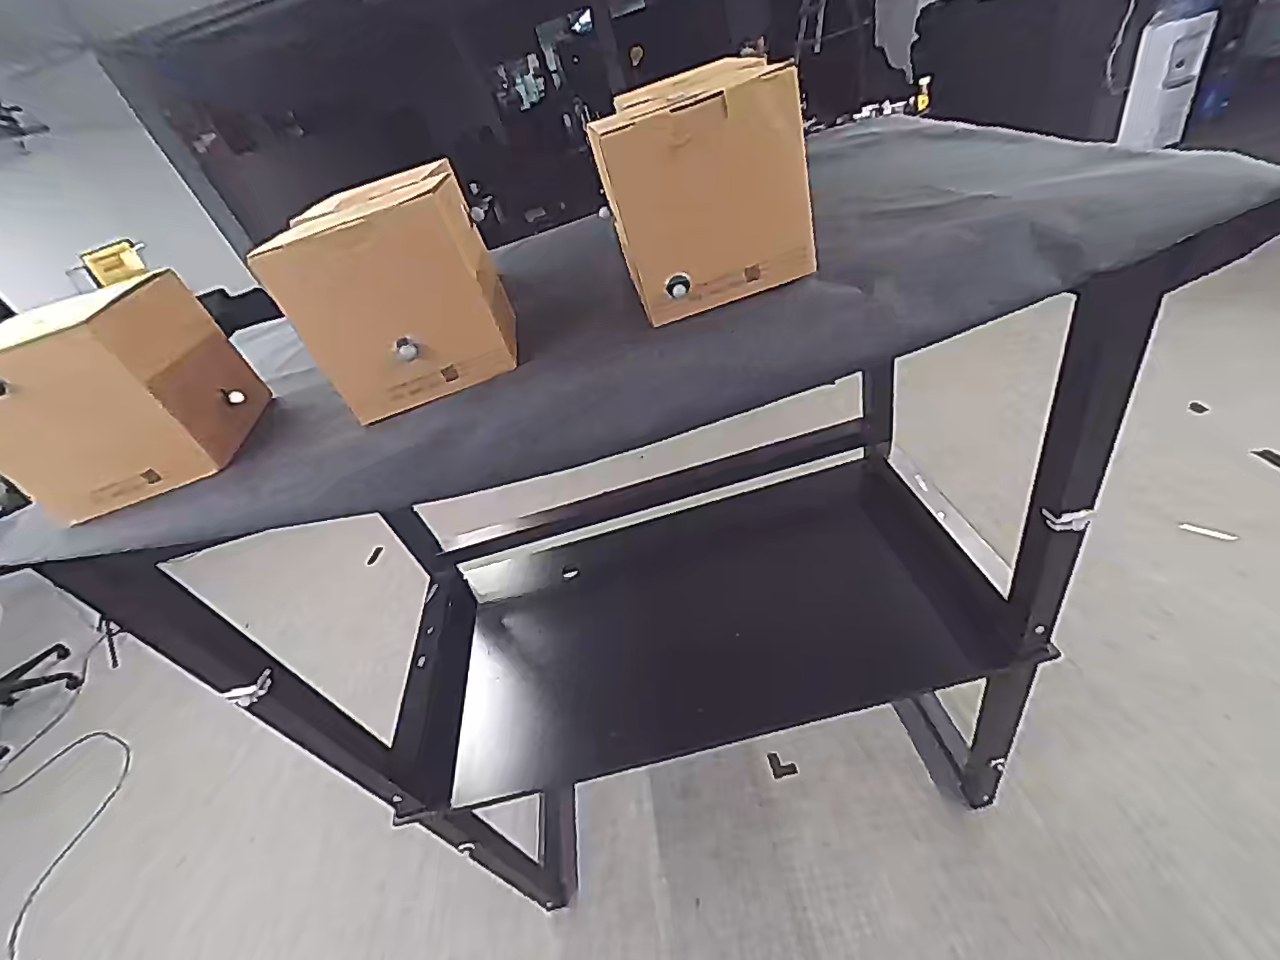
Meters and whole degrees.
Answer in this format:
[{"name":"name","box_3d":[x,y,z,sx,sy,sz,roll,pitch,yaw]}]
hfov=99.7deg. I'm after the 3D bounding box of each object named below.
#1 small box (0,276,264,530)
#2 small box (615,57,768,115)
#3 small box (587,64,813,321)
[{"name":"small box","box_3d":[-0.534,-0.081,0.554,0.168,0.176,0.179,-21,38,-1]},{"name":"small box","box_3d":[0.073,-0.423,0.706,0.168,0.176,0.179,-17,39,4]},{"name":"small box","box_3d":[0.057,-0.275,0.531,0.168,0.176,0.179,-18,36,3]}]
